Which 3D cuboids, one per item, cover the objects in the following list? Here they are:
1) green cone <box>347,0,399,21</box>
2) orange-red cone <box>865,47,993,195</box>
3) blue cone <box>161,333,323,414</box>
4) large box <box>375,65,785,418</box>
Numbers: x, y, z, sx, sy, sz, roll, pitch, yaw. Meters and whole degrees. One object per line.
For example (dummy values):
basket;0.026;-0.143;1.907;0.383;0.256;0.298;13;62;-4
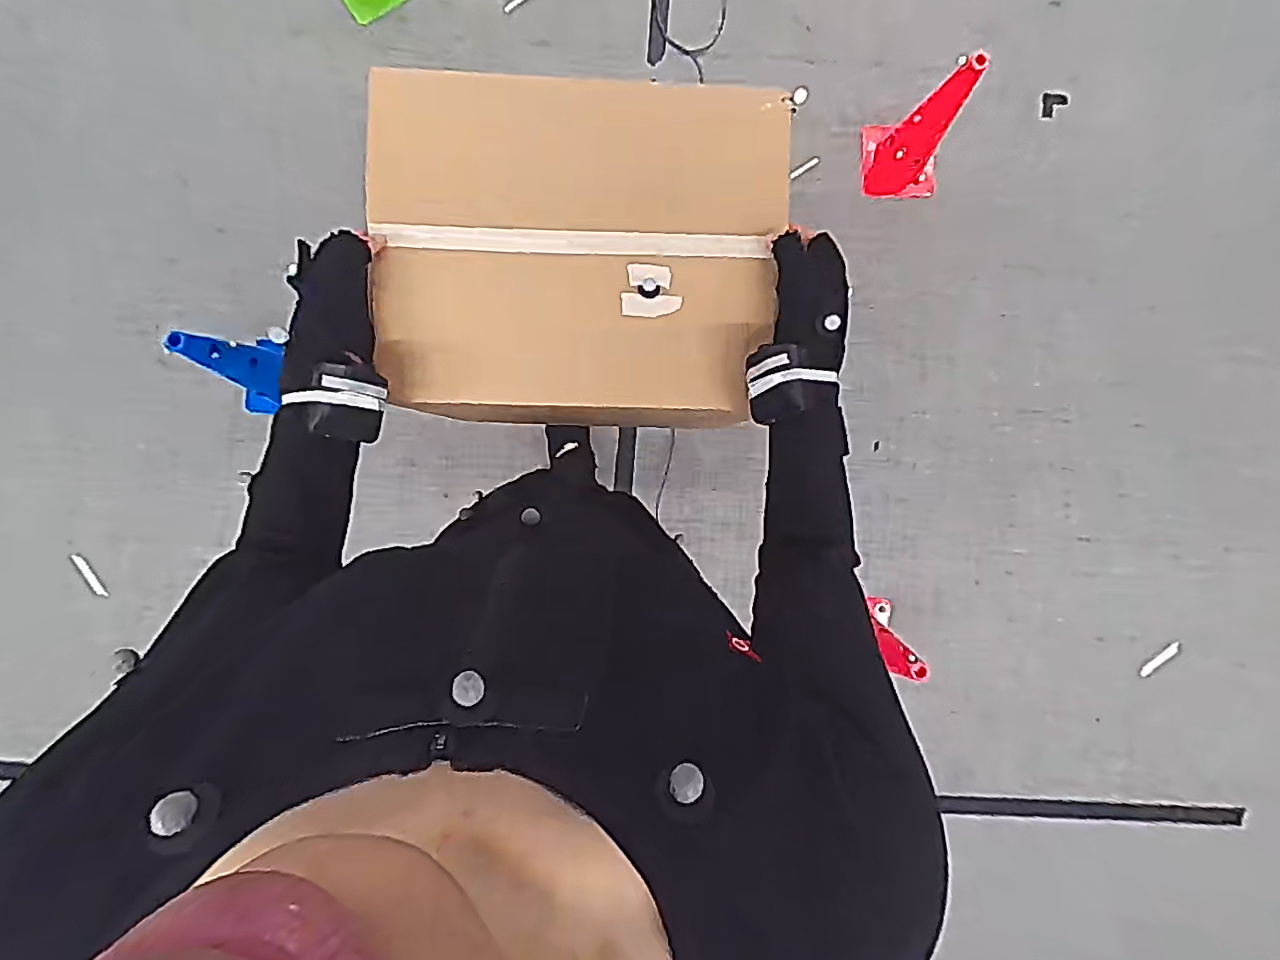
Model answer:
green cone;-0.733;-1.389;1.309;0.202;0.368;0.200;-34;89;0
orange-red cone;0.724;-0.896;1.320;0.198;0.360;0.199;1;87;-2
blue cone;-0.956;-0.279;1.295;0.192;0.380;0.193;7;88;0
large box;-0.065;-0.246;0.676;0.408;0.320;0.320;1;92;-3
